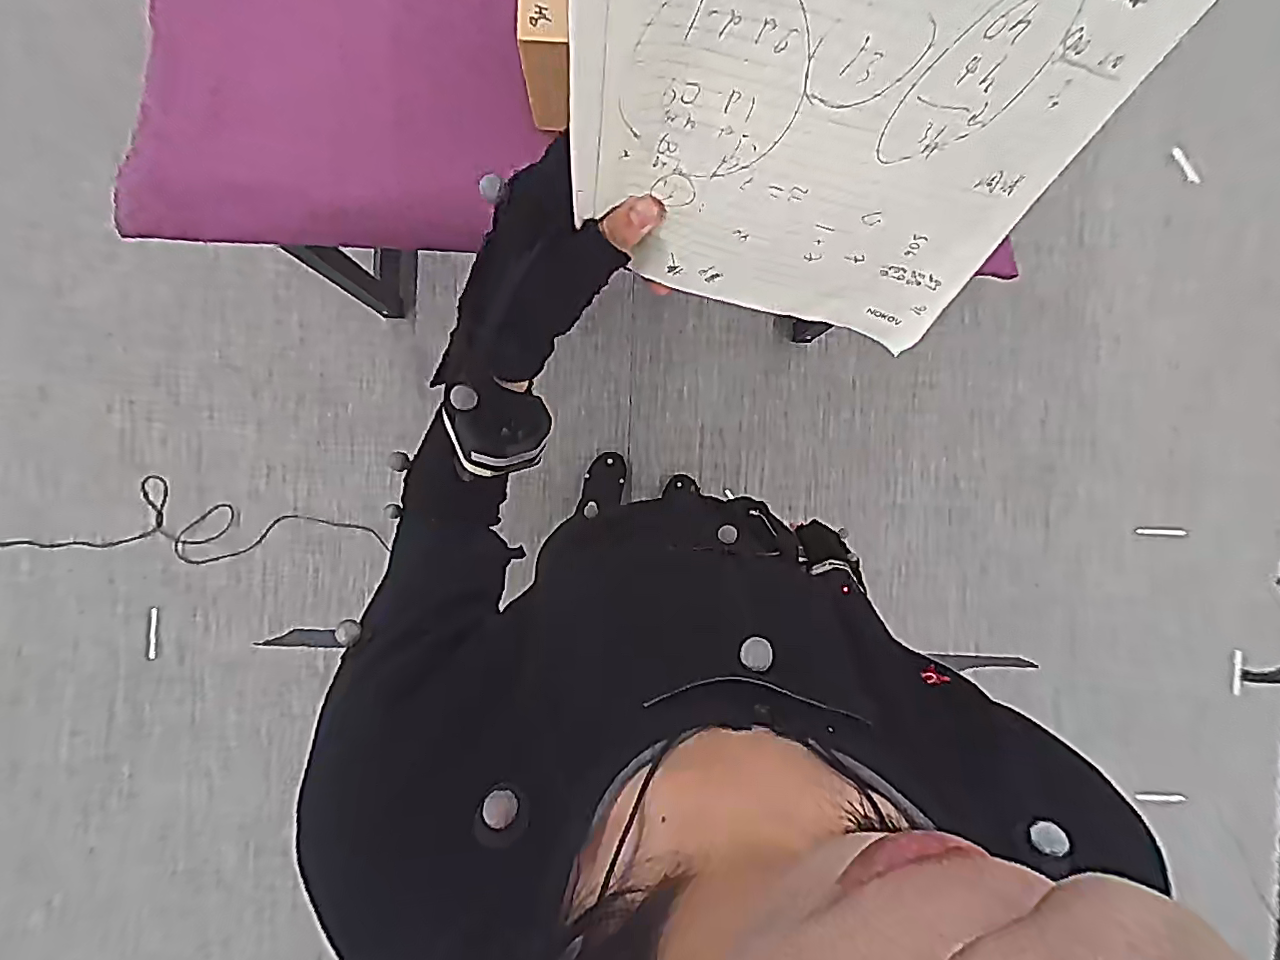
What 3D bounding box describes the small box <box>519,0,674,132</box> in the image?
[{"bbox_3d":[-0.053,-0.580,0.692,0.179,0.176,0.168,2,90,-4],"label":"small box"}]
